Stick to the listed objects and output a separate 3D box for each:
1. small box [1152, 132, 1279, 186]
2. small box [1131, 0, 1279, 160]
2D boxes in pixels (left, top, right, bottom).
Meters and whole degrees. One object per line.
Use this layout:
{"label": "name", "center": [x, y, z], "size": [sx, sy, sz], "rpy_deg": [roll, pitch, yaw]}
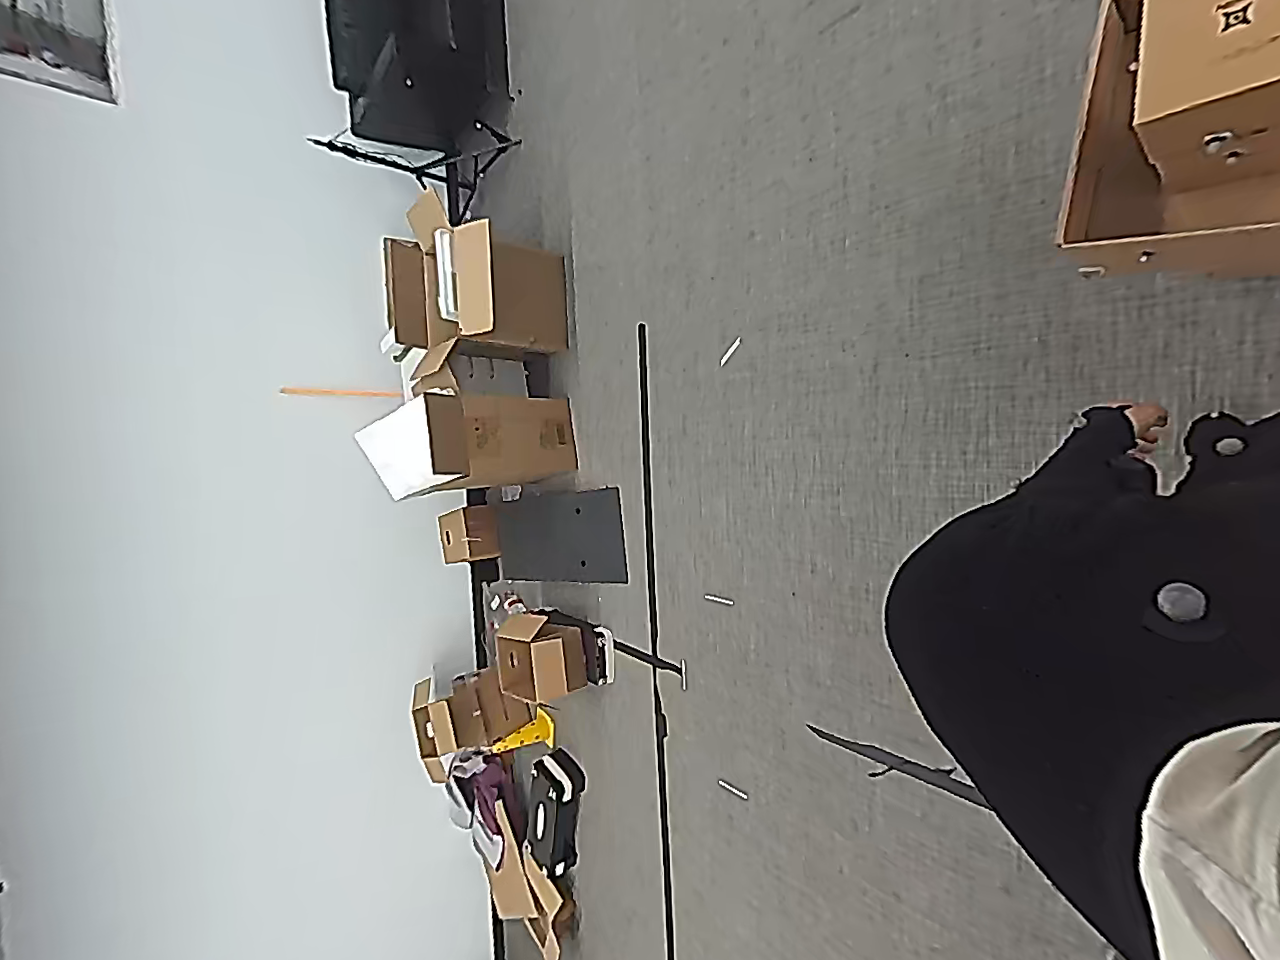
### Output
{"label": "small box", "center": [0.864, -0.542, 0.763], "size": [0.179, 0.176, 0.168], "rpy_deg": [10, 102, 48]}
{"label": "small box", "center": [0.733, -0.534, 0.664], "size": [0.168, 0.176, 0.179], "rpy_deg": [7, 98, 50]}
